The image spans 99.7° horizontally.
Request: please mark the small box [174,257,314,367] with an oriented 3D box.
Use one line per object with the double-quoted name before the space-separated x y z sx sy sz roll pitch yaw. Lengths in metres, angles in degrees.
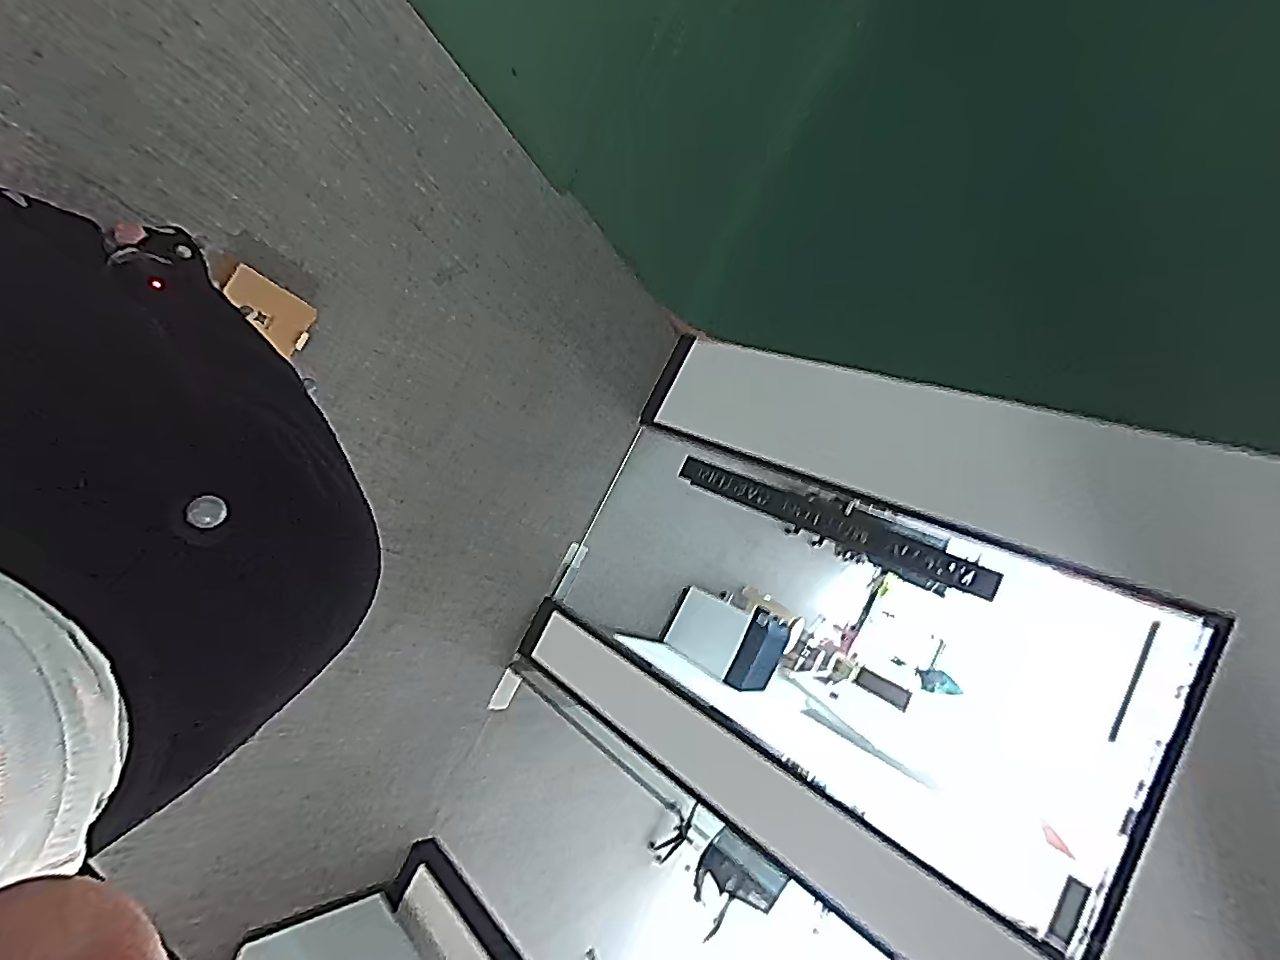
"small box" -0.896 -0.385 1.226 0.168 0.176 0.179 -62 145 -9
